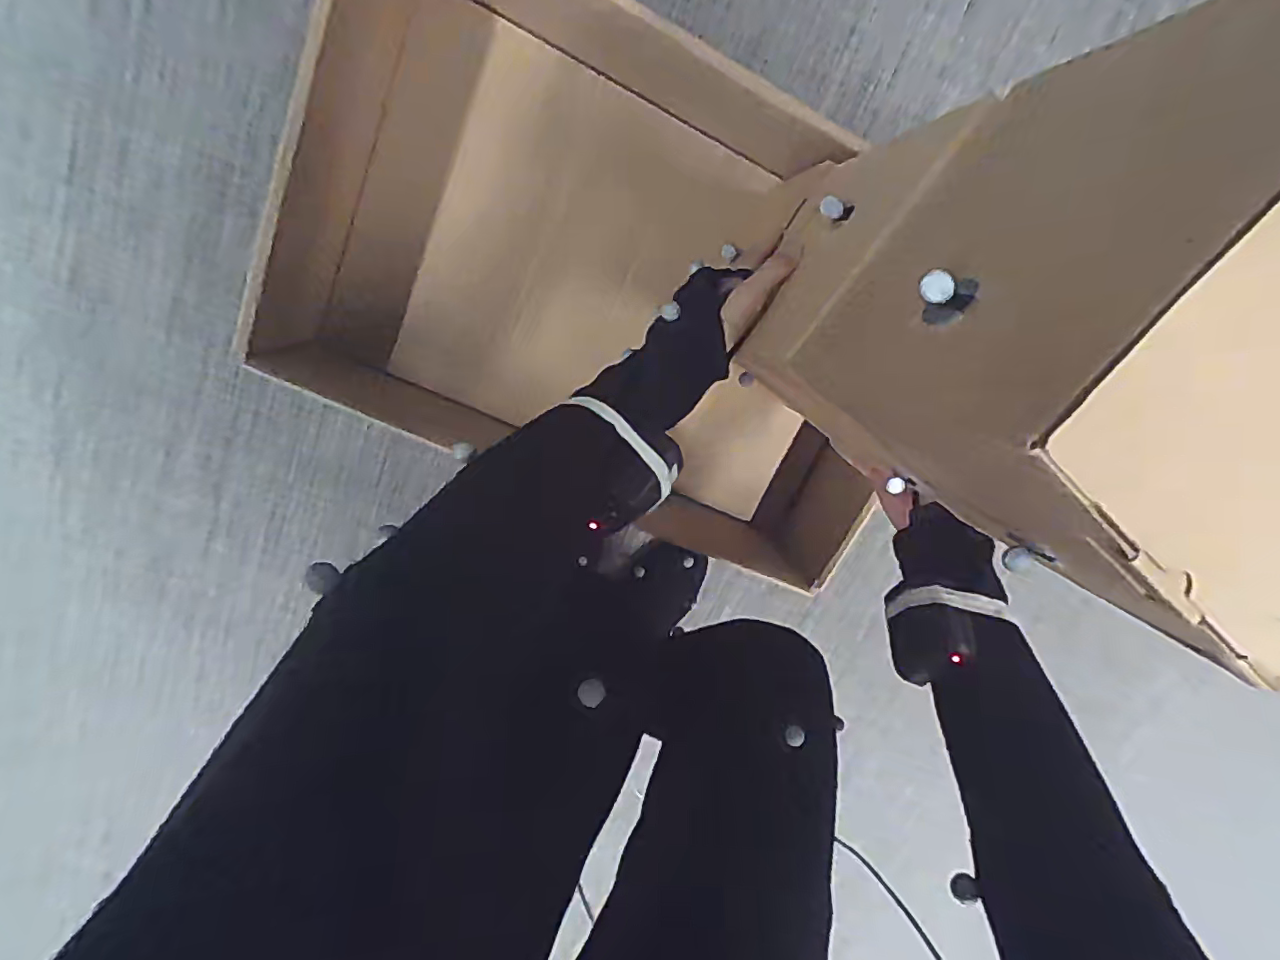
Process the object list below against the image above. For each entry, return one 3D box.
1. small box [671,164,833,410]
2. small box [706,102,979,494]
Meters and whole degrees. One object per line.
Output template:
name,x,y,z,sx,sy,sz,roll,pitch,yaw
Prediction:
small box,0.151,-0.165,0.534,0.179,0.176,0.168,31,103,-17
small box,0.170,-0.106,0.382,0.179,0.176,0.168,34,102,-16
